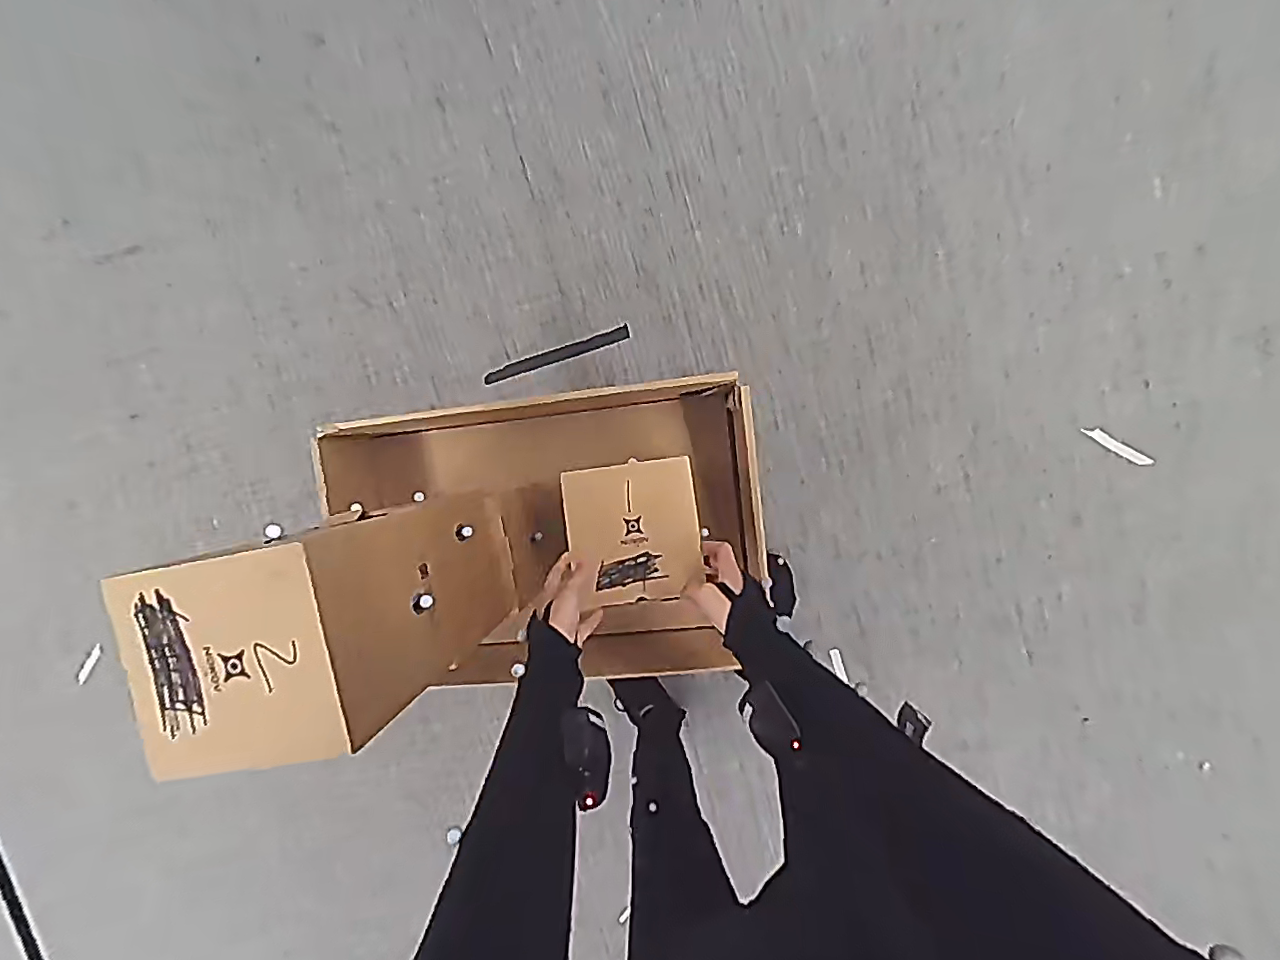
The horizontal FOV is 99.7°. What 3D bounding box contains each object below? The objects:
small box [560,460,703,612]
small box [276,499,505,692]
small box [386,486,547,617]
[{"bbox_3d":[-0.006,0.073,0.749,0.168,0.176,0.179,-7,86,2],"label":"small box"},{"bbox_3d":[-0.280,0.122,0.644,0.168,0.176,0.179,-12,94,7],"label":"small box"},{"bbox_3d":[-0.254,0.107,0.805,0.179,0.176,0.168,-9,95,6],"label":"small box"}]
